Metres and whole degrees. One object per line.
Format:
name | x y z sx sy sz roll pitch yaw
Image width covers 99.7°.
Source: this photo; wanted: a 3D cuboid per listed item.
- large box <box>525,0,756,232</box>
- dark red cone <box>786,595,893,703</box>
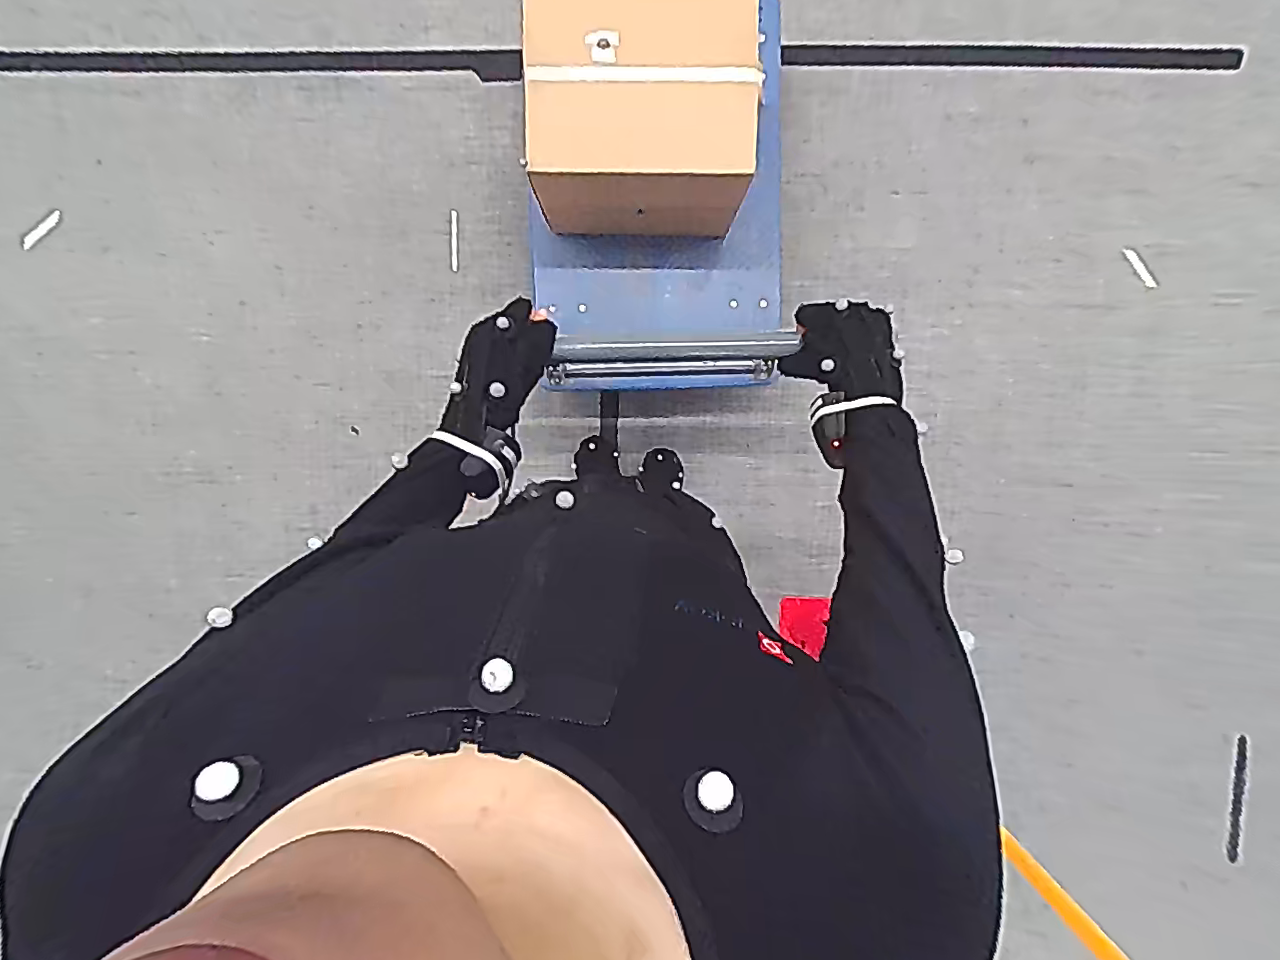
large box | 0.005 -0.707 1.085 0.408 0.320 0.320 0 95 1
dark red cone | 0.502 0.429 1.313 0.201 0.394 0.202 1 96 -2
